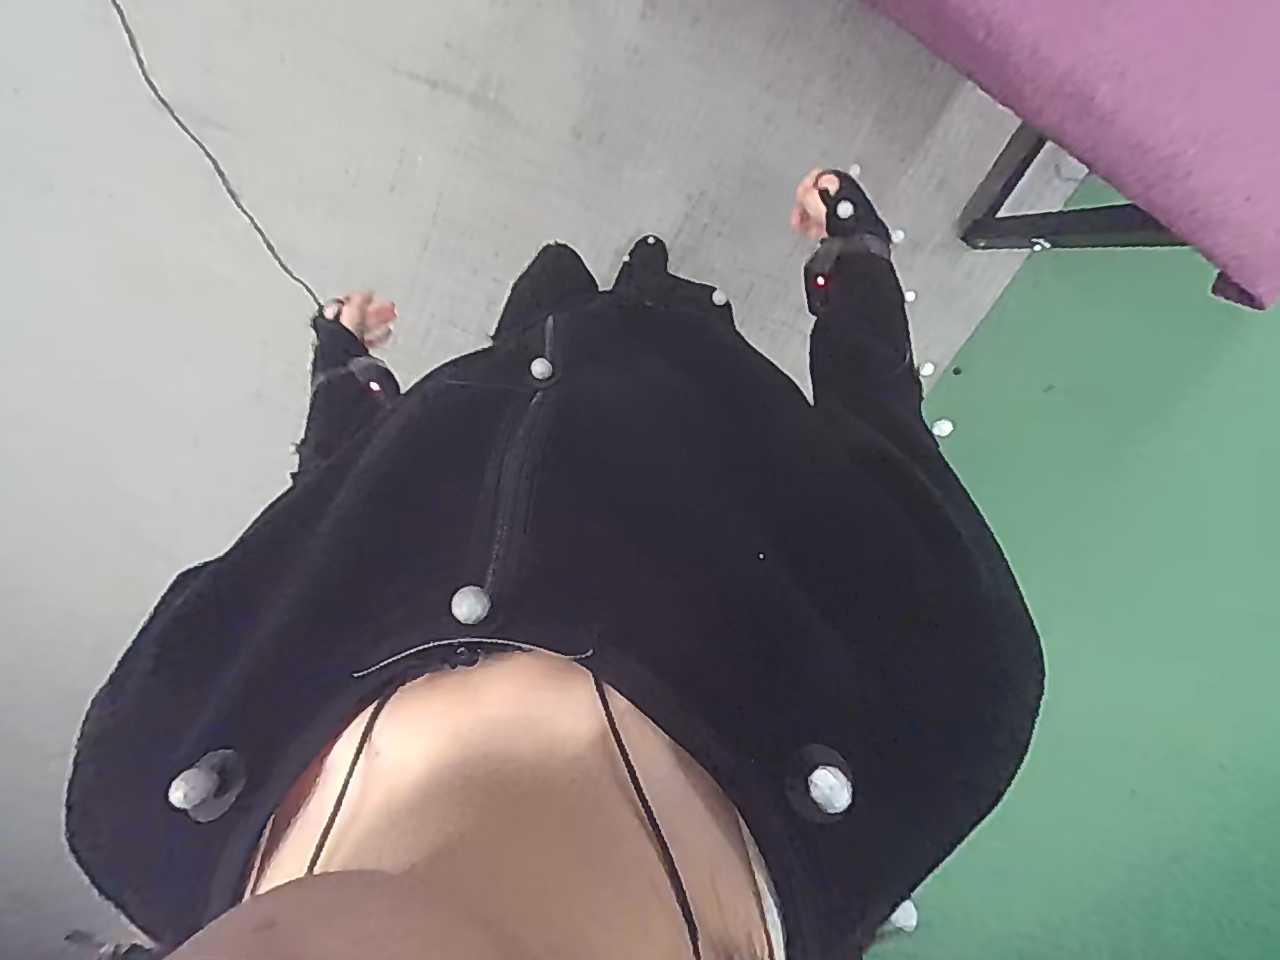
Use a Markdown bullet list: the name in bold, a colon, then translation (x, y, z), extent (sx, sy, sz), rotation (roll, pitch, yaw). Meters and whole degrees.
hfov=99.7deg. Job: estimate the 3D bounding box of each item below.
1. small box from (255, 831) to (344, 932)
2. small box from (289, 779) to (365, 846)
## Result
- **small box**: translation (-1.017, 1.187, 1.607), extent (0.179, 0.176, 0.168), rotation (24, 111, -9)
- **small box**: translation (-1.022, 1.114, 1.754), extent (0.168, 0.176, 0.179), rotation (23, 110, -9)
